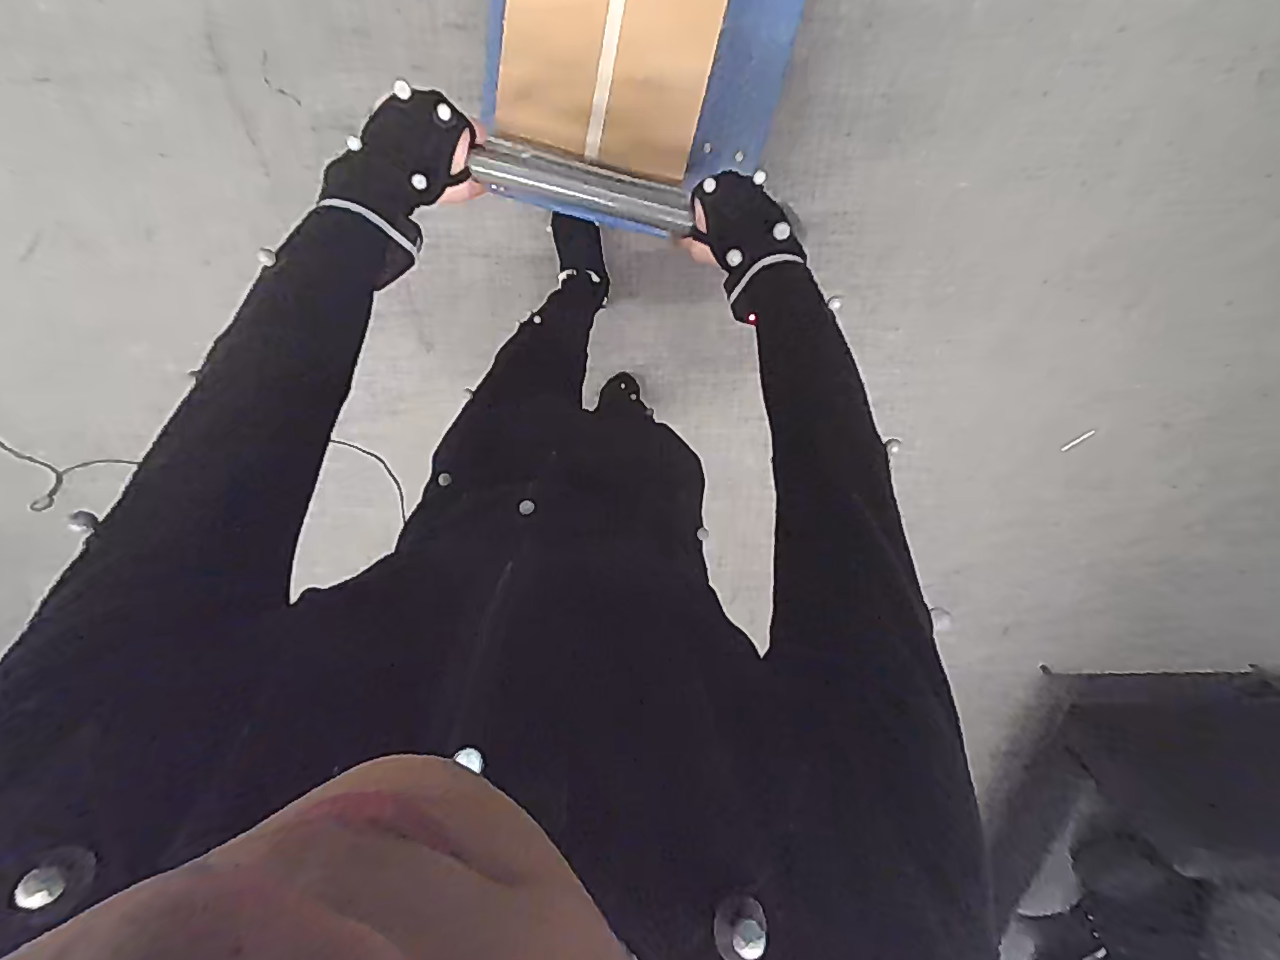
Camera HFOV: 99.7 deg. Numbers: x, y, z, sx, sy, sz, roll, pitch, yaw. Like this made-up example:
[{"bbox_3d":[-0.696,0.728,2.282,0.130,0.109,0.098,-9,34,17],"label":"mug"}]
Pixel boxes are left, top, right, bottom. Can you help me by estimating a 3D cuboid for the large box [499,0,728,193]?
[{"bbox_3d":[-0.034,-0.751,0.931,0.320,0.320,0.408,12,116,-7],"label":"large box"}]
